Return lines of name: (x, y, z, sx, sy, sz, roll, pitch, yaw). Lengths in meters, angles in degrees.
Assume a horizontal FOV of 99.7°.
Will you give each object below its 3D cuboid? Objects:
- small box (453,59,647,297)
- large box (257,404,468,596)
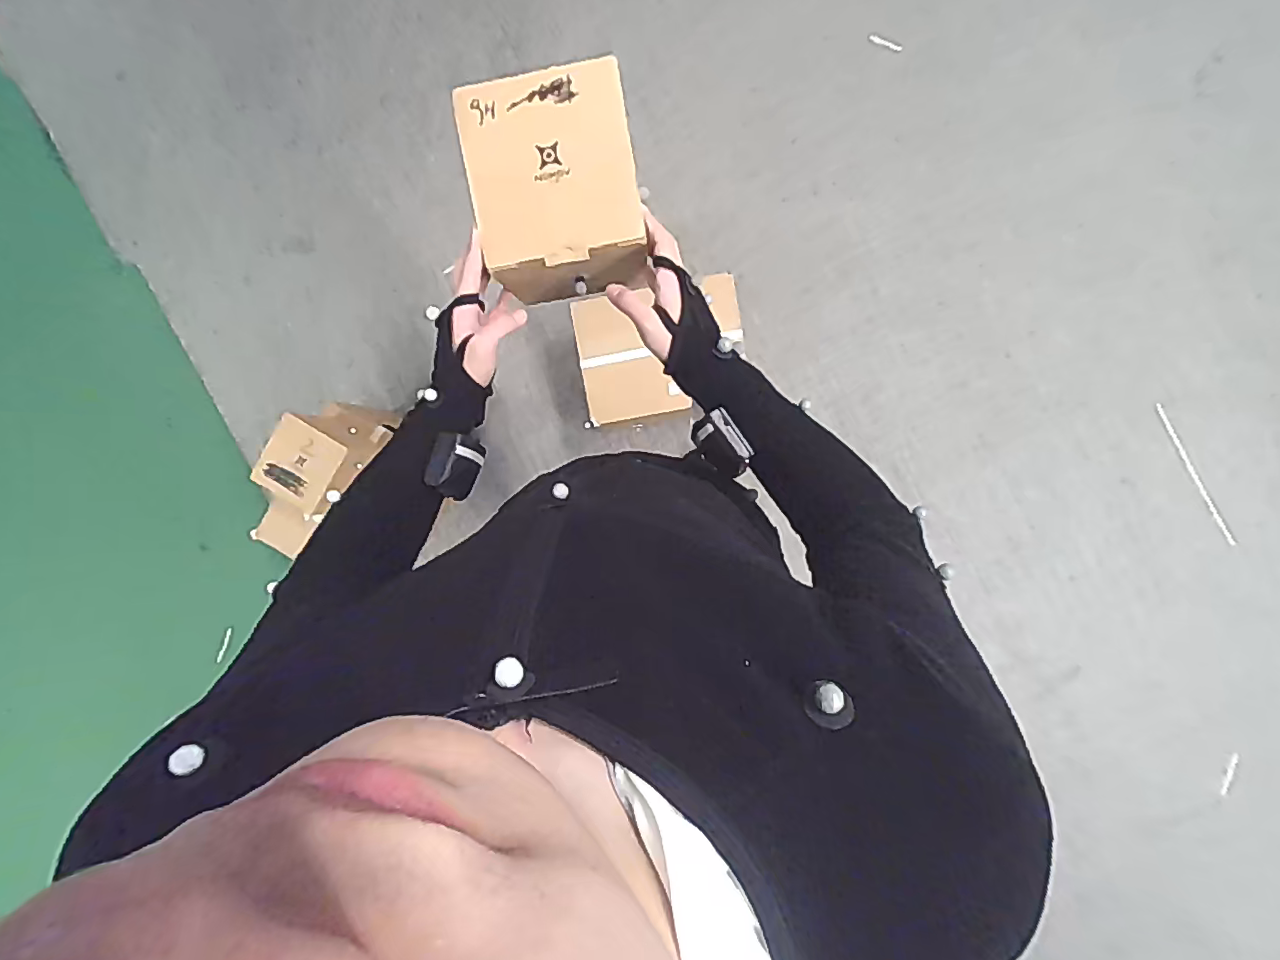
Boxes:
small box: (-0.085, -0.315, 0.607, 0.168, 0.176, 0.179, -10, 97, 2)
large box: (-0.747, 0.041, 1.511, 0.320, 0.320, 0.408, 30, 94, 0)
